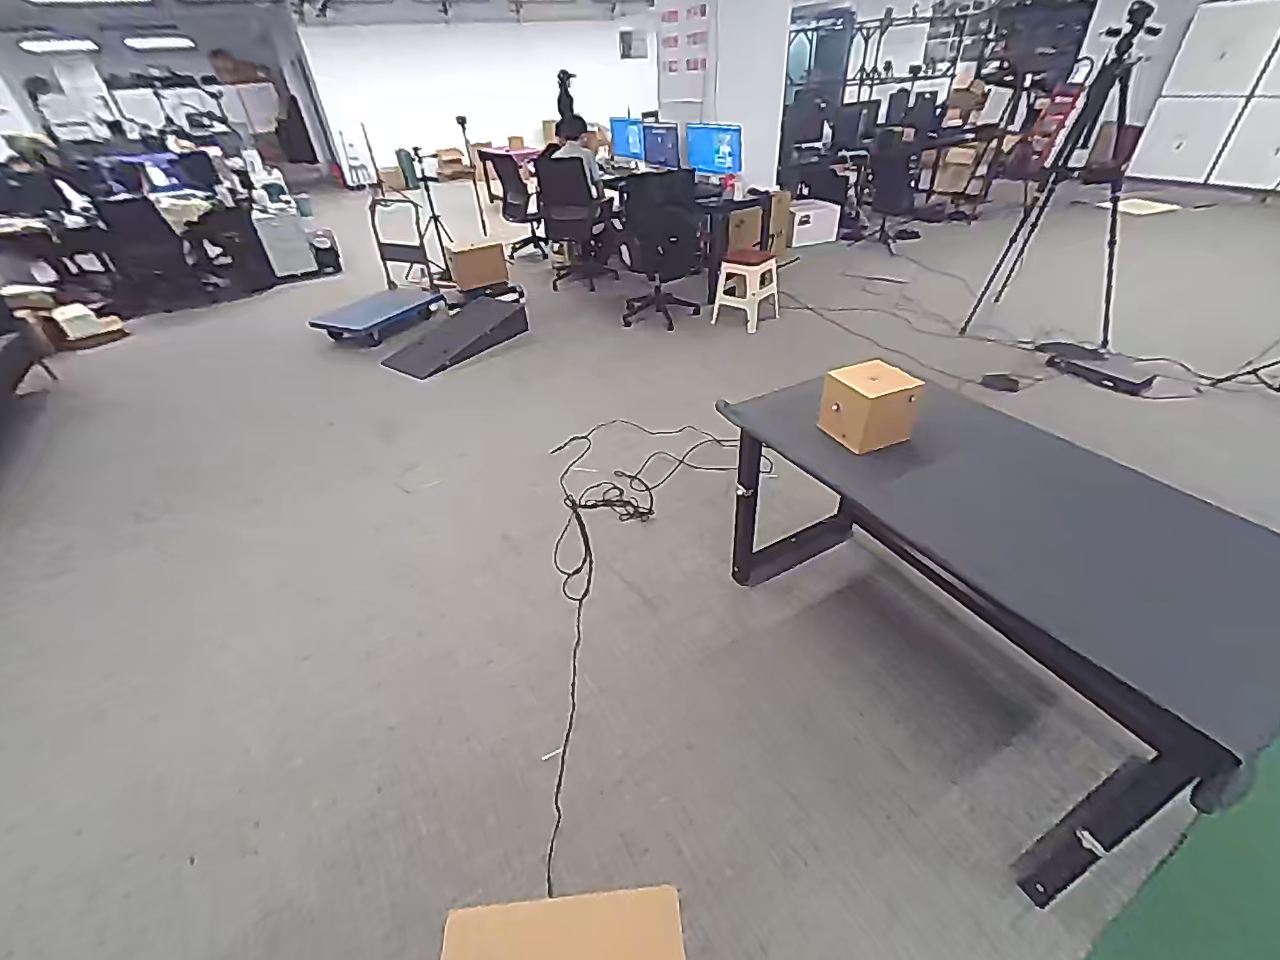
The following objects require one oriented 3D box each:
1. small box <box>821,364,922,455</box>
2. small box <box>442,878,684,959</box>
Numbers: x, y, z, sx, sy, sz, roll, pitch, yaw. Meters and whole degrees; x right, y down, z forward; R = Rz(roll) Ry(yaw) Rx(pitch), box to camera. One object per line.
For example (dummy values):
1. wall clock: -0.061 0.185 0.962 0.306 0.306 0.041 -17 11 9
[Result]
1. small box: 0.596 -0.184 1.421 0.179 0.176 0.168 -16 38 -18
2. small box: -0.049 0.414 0.375 0.168 0.176 0.179 -4 37 -3
